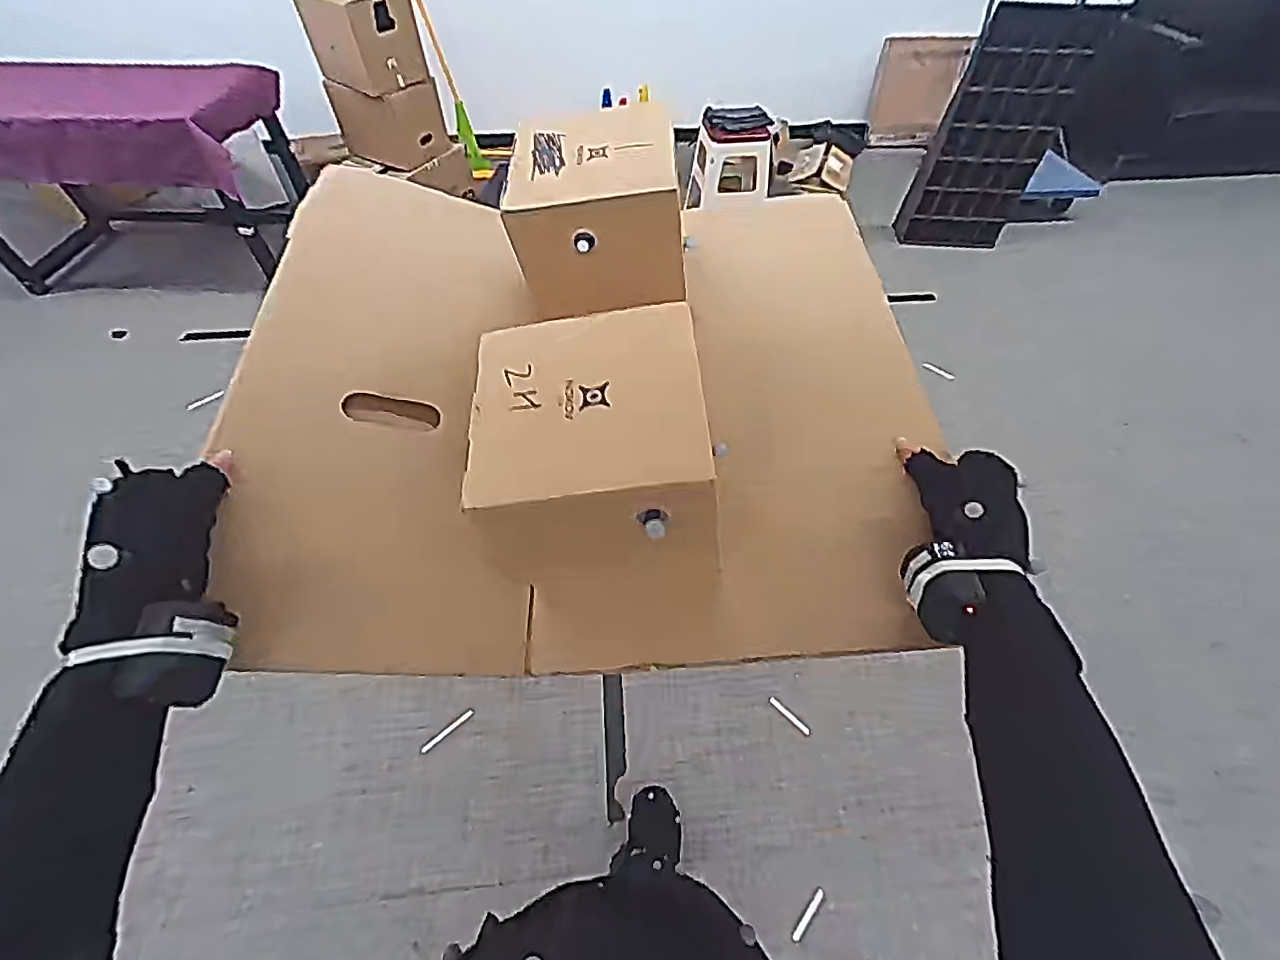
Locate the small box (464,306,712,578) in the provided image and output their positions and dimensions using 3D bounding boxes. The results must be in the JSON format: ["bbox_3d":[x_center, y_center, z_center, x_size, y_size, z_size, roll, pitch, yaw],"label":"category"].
[{"bbox_3d":[-0.030,-0.023,0.478,0.179,0.176,0.168,-7,59,7],"label":"small box"}]

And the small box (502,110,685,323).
[{"bbox_3d":[-0.042,-0.295,0.640,0.179,0.176,0.168,-4,60,7],"label":"small box"}]
